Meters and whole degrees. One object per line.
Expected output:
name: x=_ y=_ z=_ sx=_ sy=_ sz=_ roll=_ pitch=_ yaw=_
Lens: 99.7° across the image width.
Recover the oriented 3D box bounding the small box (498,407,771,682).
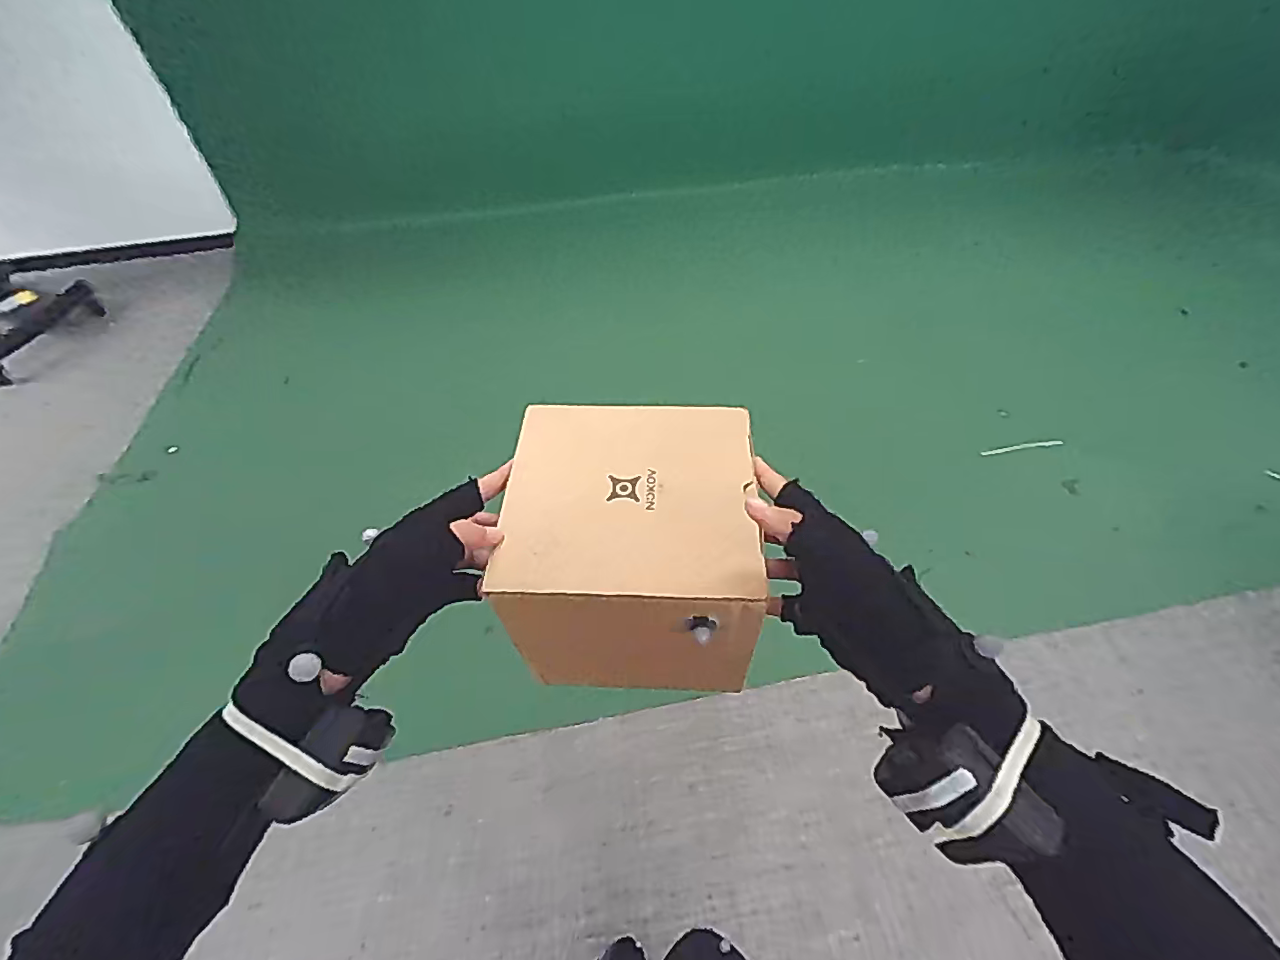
small box: x=0.003 y=0.057 z=0.448 sx=0.179 sy=0.176 sz=0.168 roll=1 pitch=52 yaw=3
